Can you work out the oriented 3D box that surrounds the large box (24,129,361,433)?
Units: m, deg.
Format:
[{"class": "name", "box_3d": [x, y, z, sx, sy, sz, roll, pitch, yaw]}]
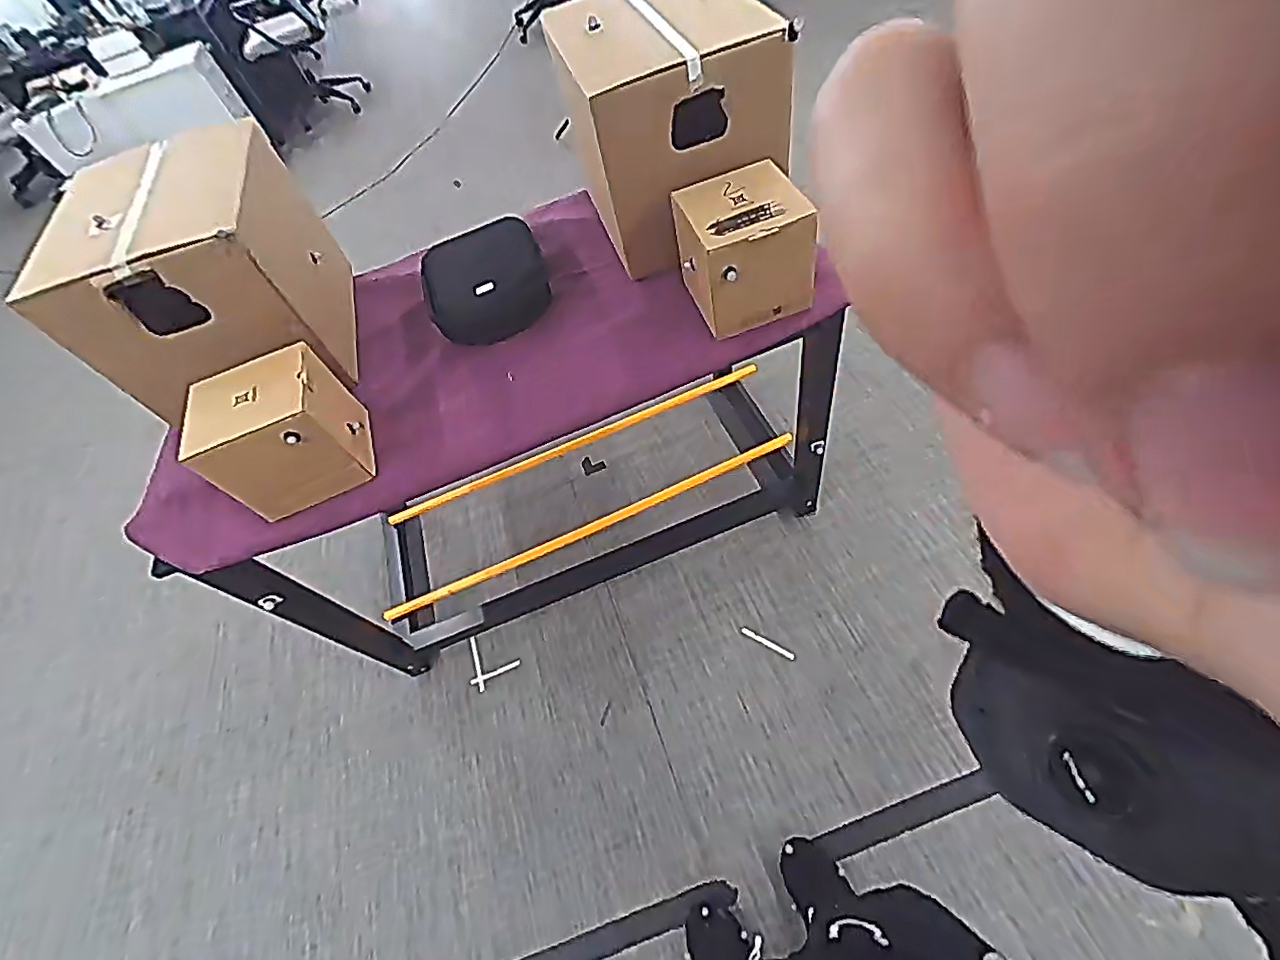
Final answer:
[{"class": "large box", "box_3d": [-0.743, -0.345, 0.971, 0.320, 0.320, 0.408, -22, 57, -4]}]

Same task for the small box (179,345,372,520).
[{"class": "small box", "box_3d": [-0.546, -0.067, 0.831, 0.179, 0.176, 0.168, -25, 54, -5]}]
